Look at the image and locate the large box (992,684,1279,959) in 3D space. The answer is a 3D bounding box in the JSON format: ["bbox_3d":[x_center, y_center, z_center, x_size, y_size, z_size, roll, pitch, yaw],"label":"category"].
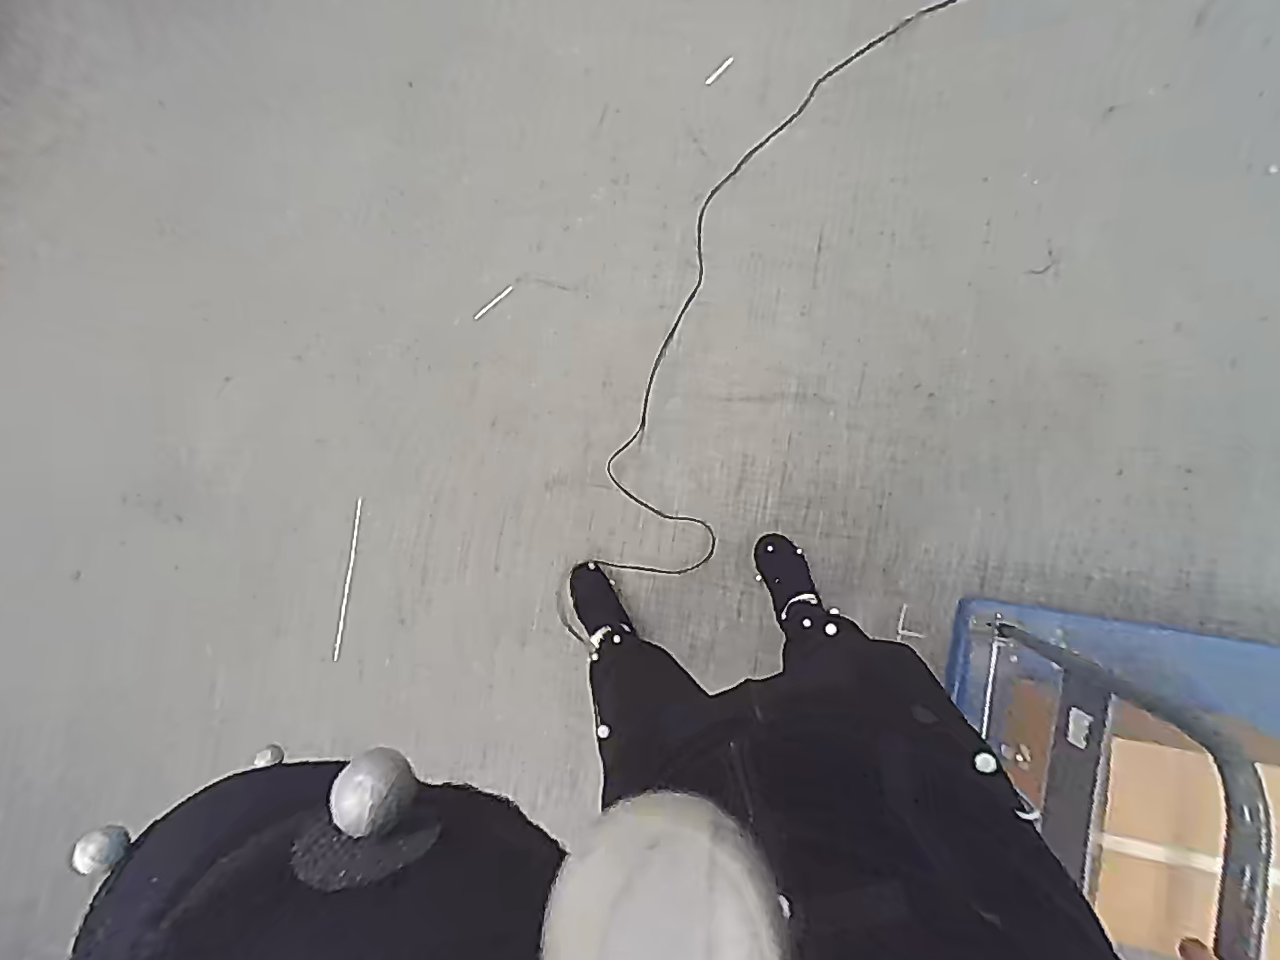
[{"bbox_3d":[0.923,0.592,0.970,0.408,0.320,0.320,7,88,9],"label":"large box"}]
